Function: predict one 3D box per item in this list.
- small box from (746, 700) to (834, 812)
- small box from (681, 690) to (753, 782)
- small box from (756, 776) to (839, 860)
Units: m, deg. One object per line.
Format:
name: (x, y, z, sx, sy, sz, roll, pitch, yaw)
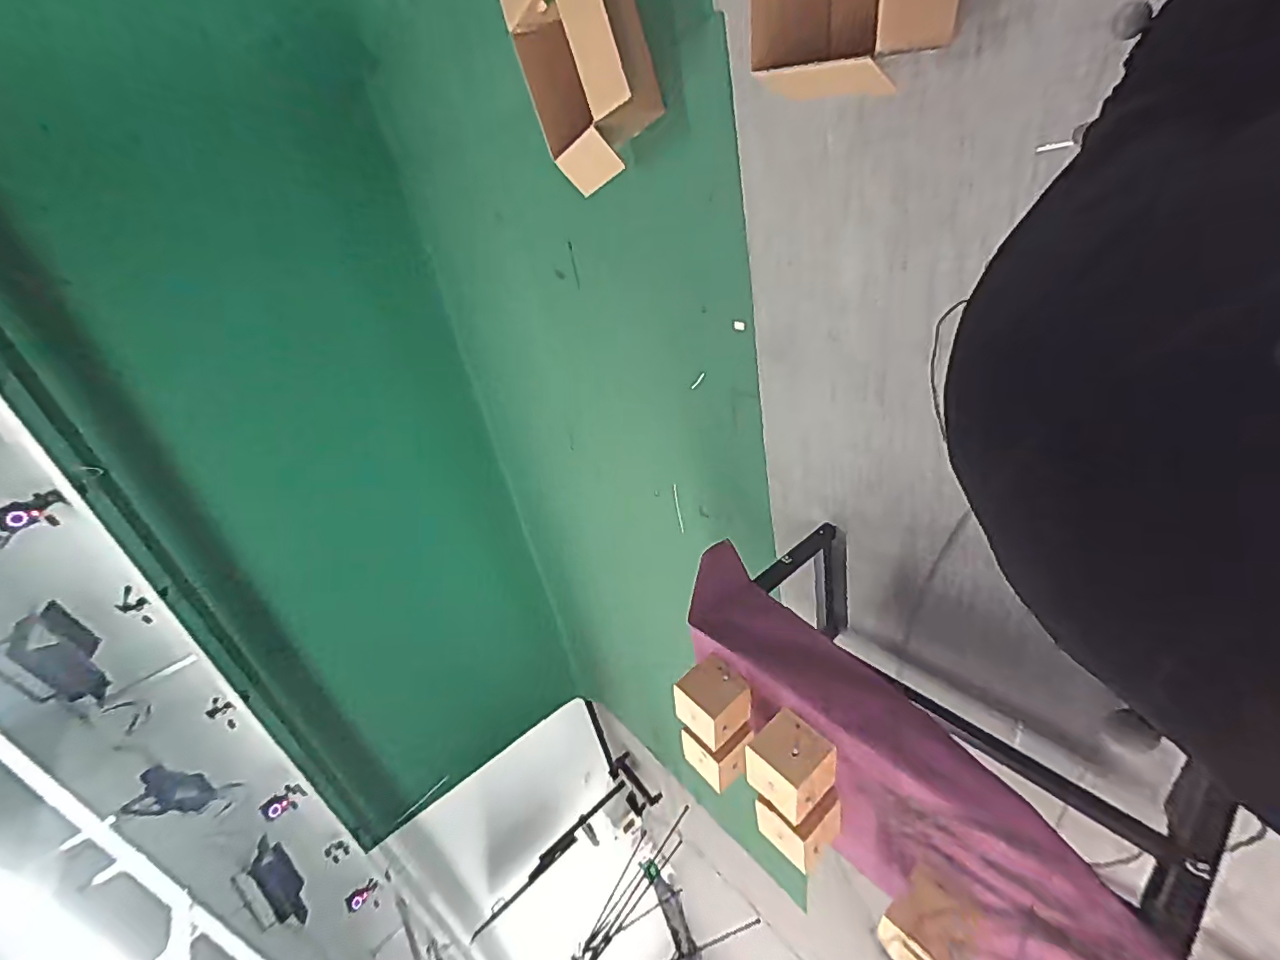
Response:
small box: (0.405, 0.736, 1.460, 0.168, 0.176, 0.179, 27, 137, 43)
small box: (0.258, 0.839, 1.783, 0.168, 0.176, 0.179, 29, 140, 42)
small box: (0.456, 0.931, 1.558, 0.168, 0.176, 0.179, 25, 136, 45)
